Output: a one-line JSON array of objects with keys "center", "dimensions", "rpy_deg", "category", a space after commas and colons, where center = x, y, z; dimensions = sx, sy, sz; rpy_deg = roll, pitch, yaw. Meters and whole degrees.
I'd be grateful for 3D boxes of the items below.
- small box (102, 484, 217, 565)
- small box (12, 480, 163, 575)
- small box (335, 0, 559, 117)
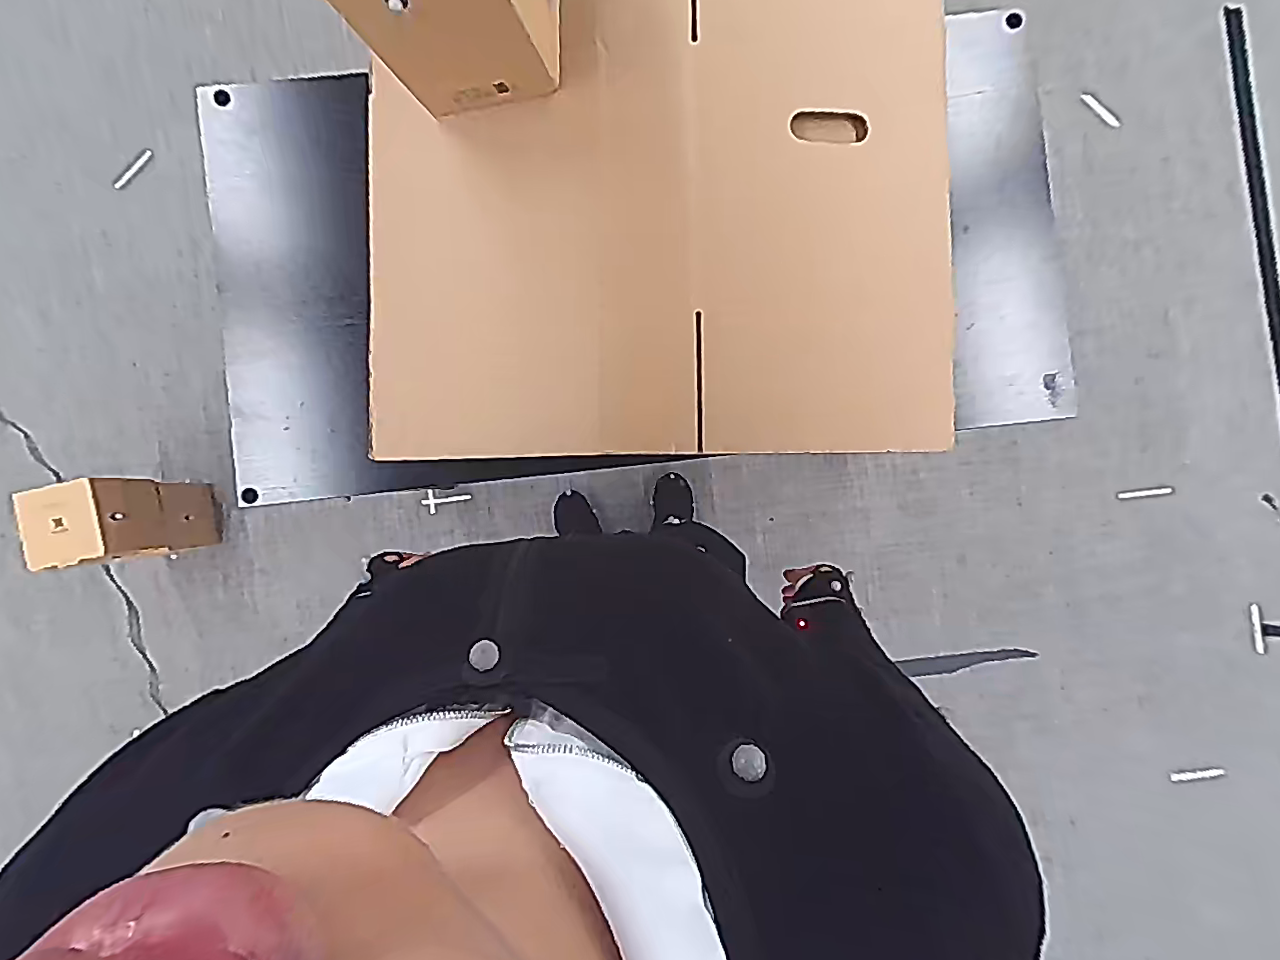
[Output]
[{"center": [-1.246, 0.111, 1.396], "dimensions": [0.168, 0.176, 0.179], "rpy_deg": [-10, 90, -1], "category": "small box"}, {"center": [-1.245, 0.102, 1.234], "dimensions": [0.168, 0.176, 0.179], "rpy_deg": [-13, 88, -2], "category": "small box"}, {"center": [-0.188, -0.516, 0.545], "dimensions": [0.168, 0.176, 0.179], "rpy_deg": [-1, 88, 14], "category": "small box"}]
